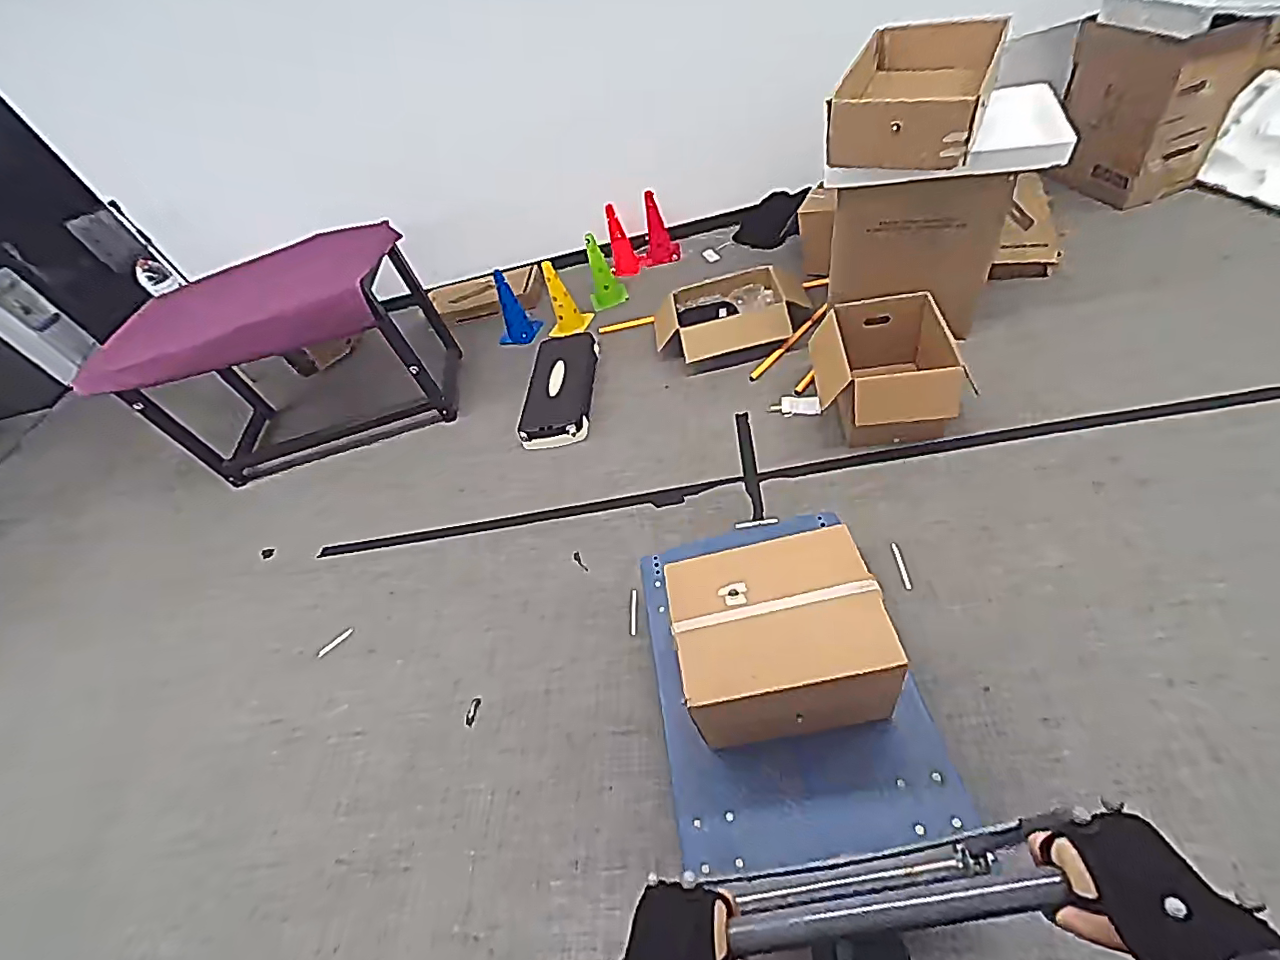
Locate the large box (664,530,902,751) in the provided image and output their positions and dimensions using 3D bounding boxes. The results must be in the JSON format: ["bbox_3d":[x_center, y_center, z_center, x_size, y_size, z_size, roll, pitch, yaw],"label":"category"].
[{"bbox_3d":[0.300,0.362,1.192,0.408,0.320,0.320,-15,47,7],"label":"large box"}]
